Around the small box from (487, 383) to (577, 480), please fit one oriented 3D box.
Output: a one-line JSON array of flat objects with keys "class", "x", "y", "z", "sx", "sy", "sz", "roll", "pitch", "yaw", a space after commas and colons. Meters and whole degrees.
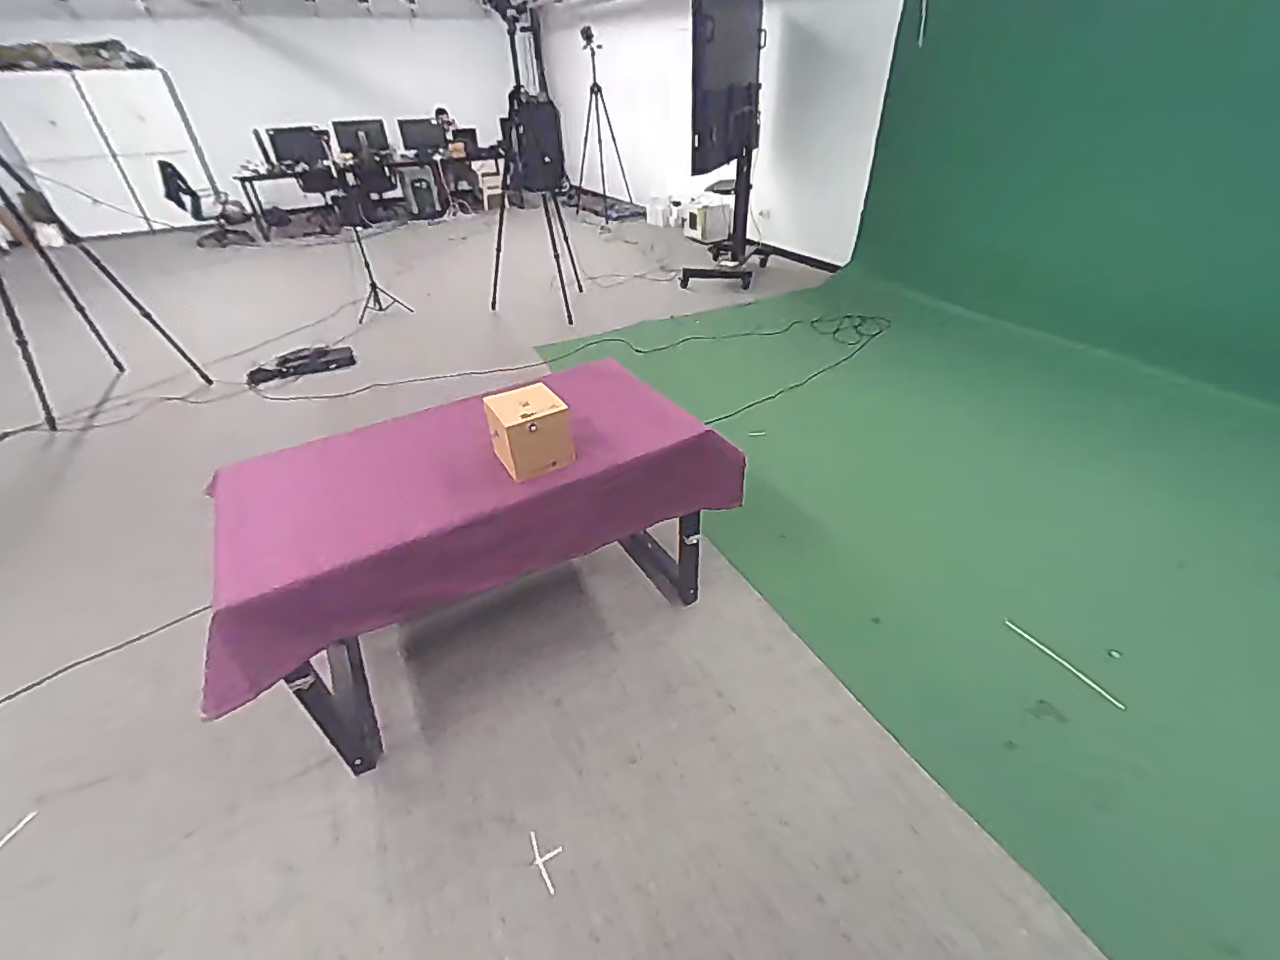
[{"class": "small box", "x": -0.279, "y": -0.126, "z": 1.402, "sx": 0.168, "sy": 0.176, "sz": 0.179, "roll": -22, "pitch": 40, "yaw": -22}]
